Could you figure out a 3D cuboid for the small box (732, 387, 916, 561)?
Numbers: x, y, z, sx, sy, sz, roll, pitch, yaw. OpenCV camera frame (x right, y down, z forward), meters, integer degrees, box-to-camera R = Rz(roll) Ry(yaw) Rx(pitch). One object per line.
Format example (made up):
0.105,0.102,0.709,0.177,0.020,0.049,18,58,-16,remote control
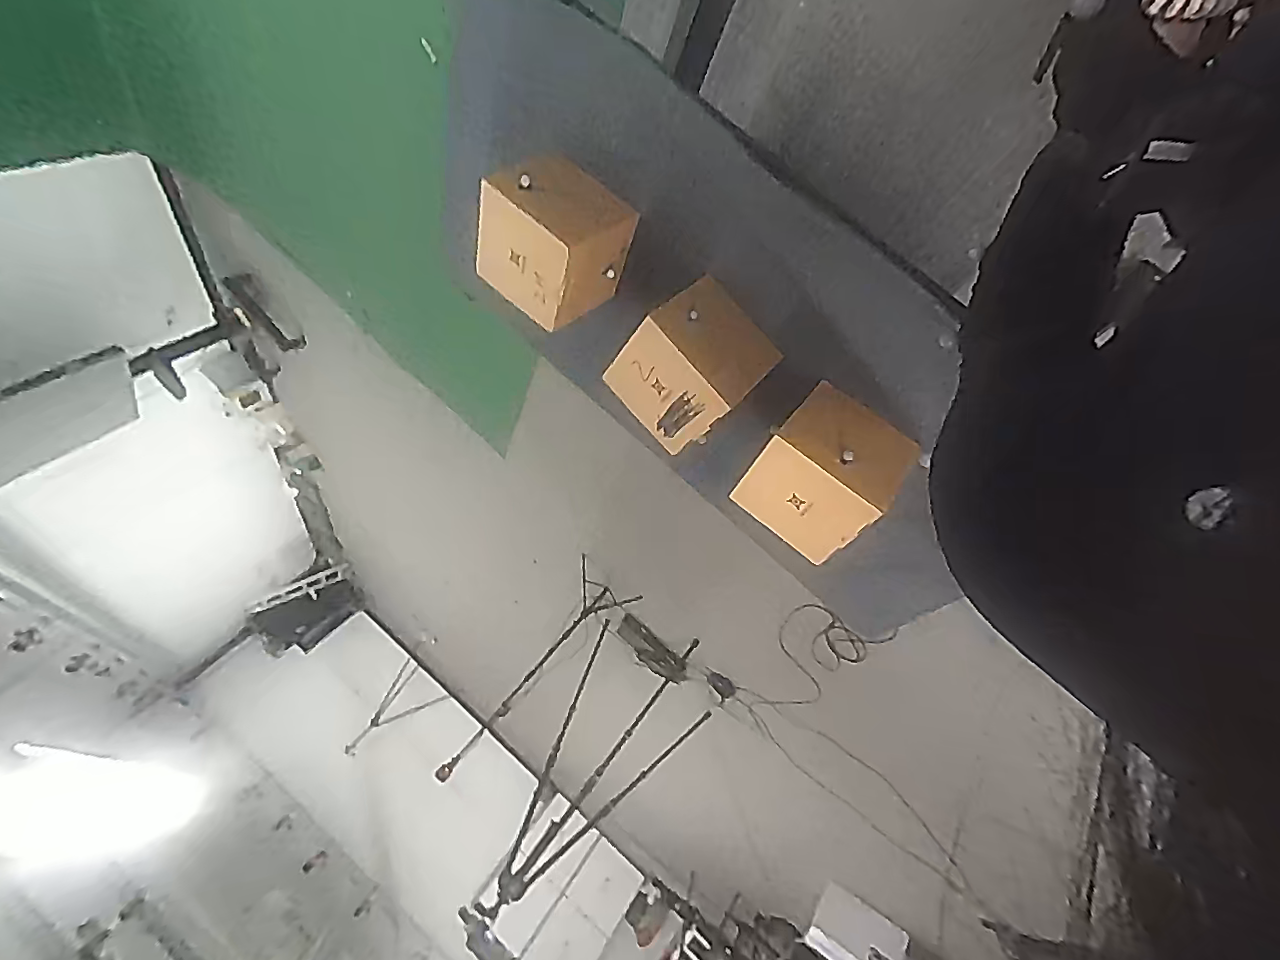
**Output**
0.277,-0.017,0.821,0.179,0.176,0.168,38,143,10,small box

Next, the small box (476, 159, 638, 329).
-0.135,-0.382,0.865,0.179,0.176,0.168,40,144,7,small box
